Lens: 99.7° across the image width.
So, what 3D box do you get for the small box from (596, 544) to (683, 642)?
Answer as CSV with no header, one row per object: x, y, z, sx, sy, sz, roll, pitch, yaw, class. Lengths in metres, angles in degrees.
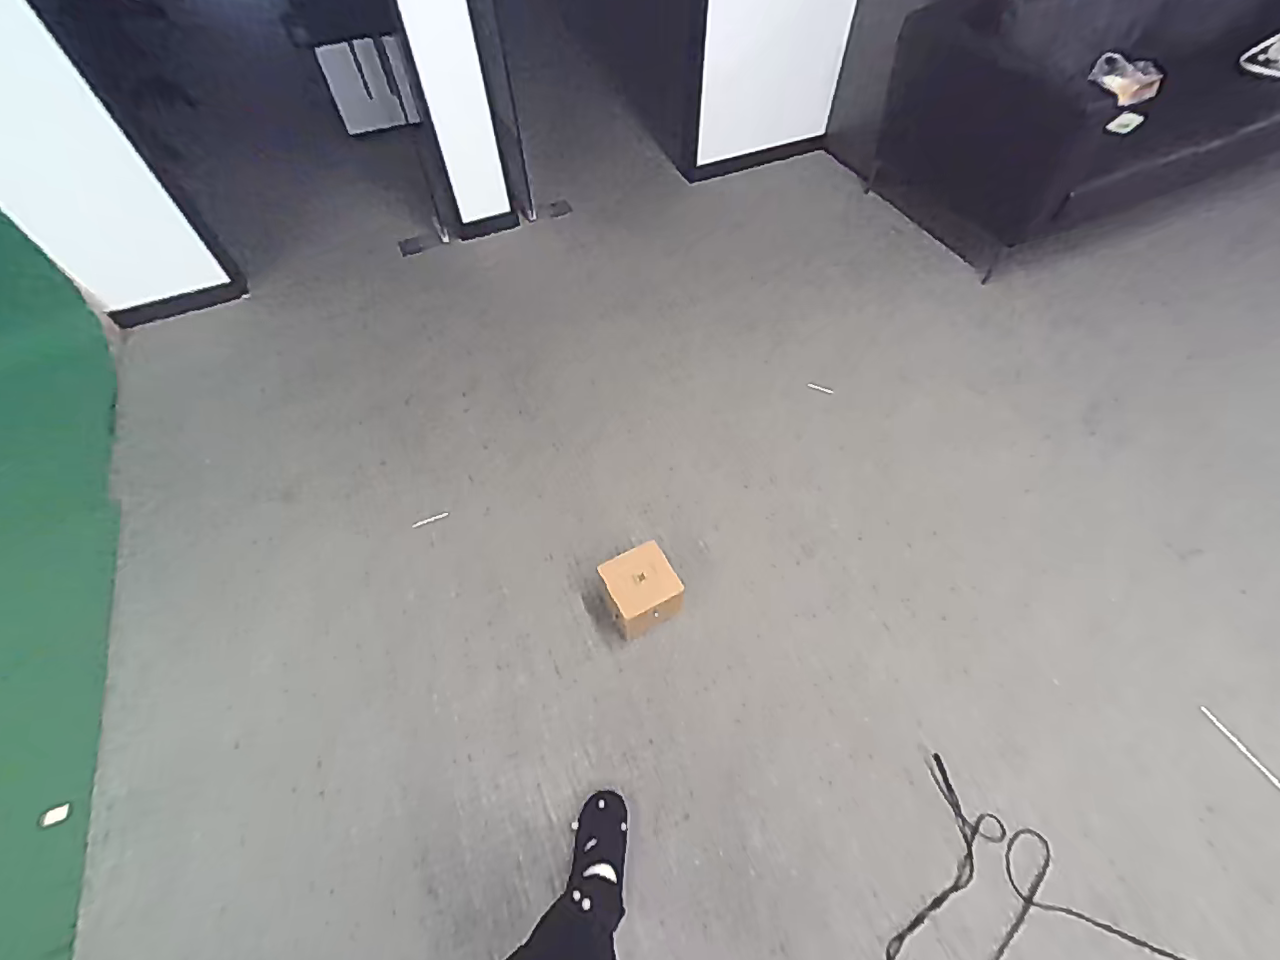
-0.001,0.308,1.452,0.179,0.176,0.168,-23,59,-15,small box
